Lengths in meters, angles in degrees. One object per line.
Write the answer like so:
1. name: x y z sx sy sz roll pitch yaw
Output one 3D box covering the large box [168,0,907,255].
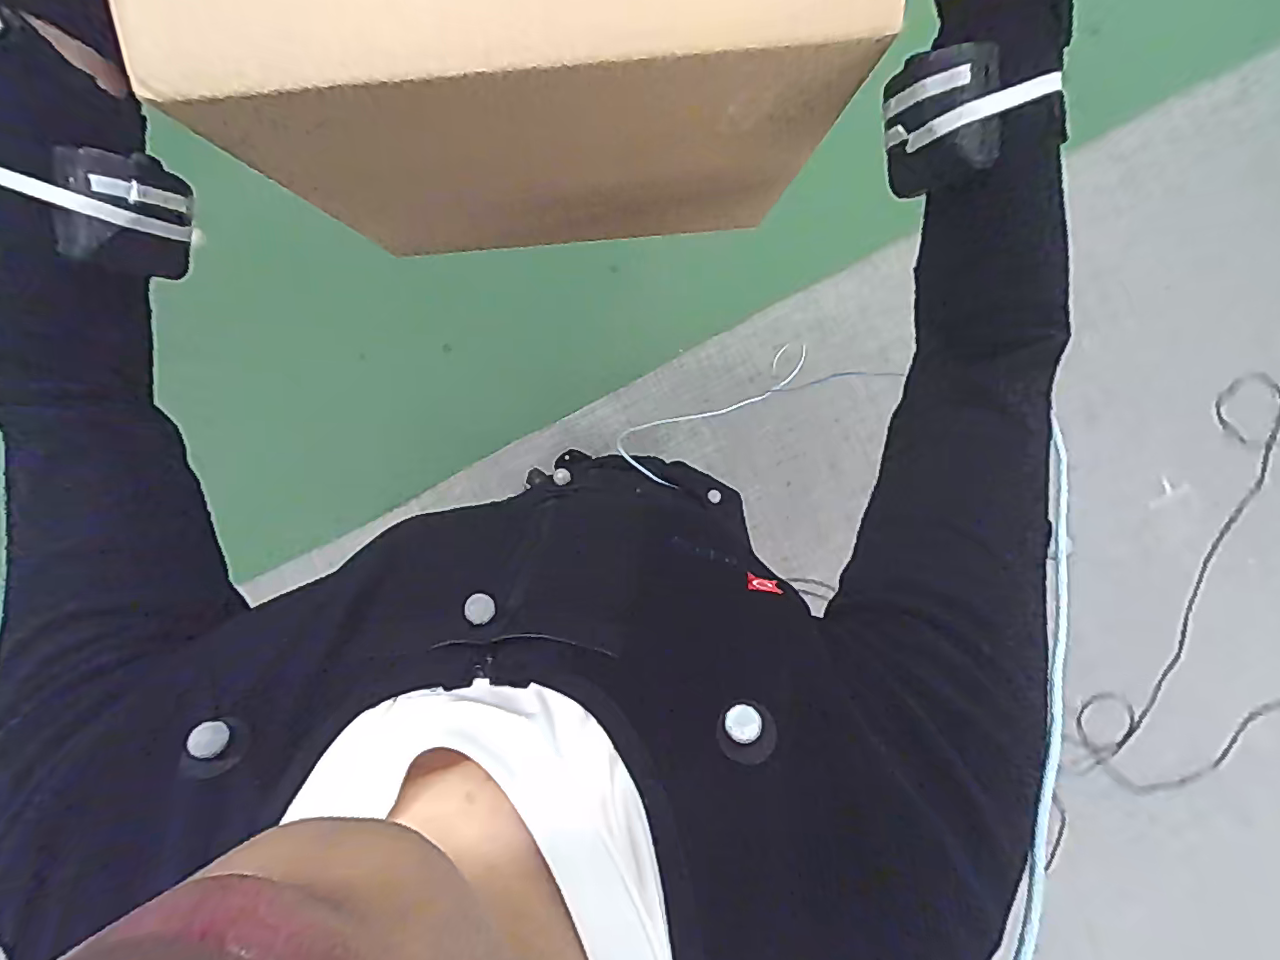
1. large box: -0.068 -0.394 0.426 0.408 0.320 0.320 -5 98 -1
